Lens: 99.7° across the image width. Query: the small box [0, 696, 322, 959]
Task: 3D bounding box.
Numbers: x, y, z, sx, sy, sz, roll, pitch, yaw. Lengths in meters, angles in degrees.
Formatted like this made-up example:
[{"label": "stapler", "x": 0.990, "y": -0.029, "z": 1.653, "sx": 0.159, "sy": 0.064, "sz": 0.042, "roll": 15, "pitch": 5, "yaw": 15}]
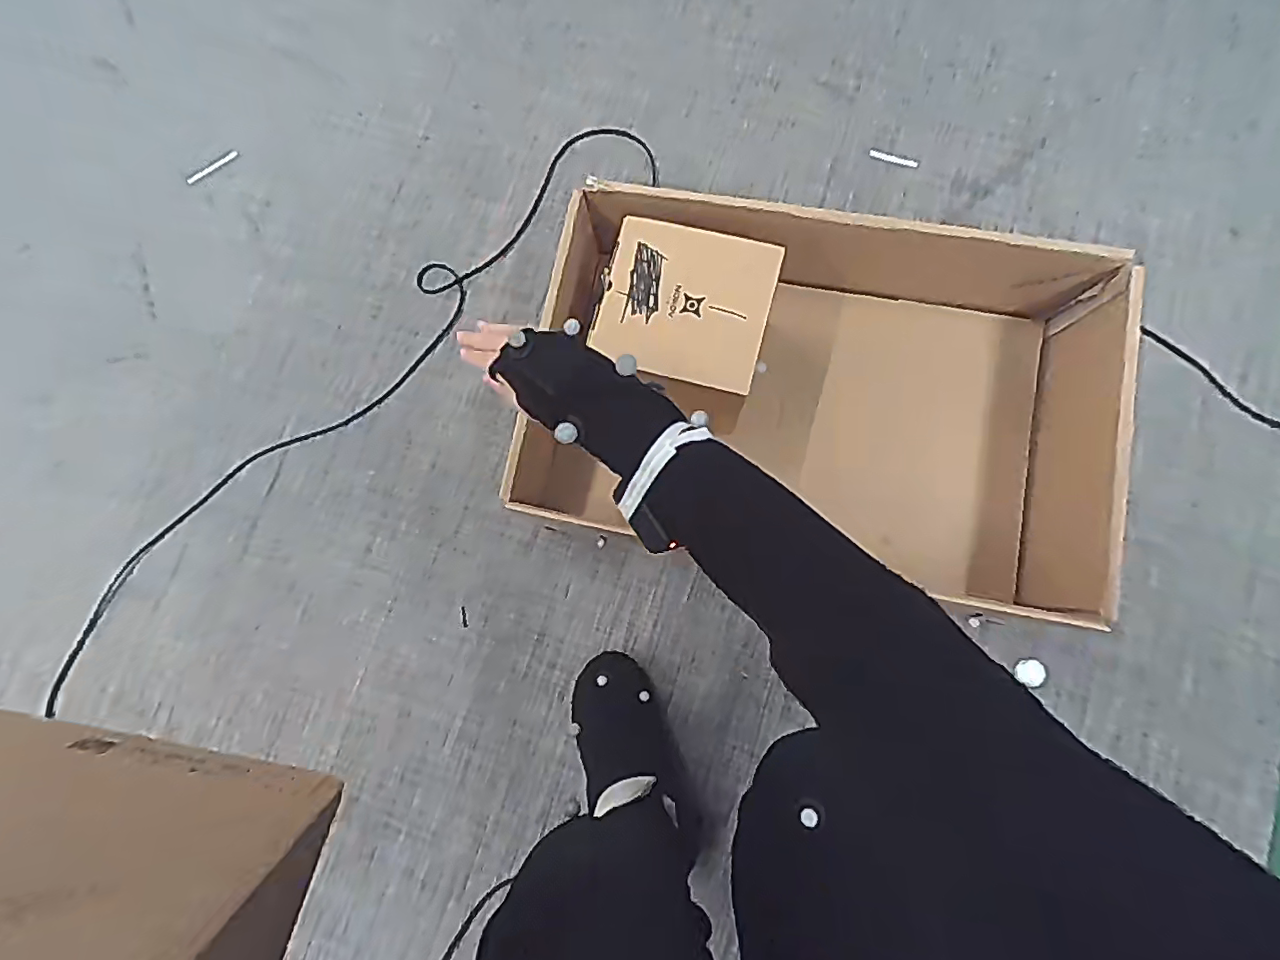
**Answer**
[{"label": "small box", "x": -0.227, "y": 0.185, "z": 0.156, "sx": 0.168, "sy": 0.176, "sz": 0.179, "roll": 18, "pitch": 76, "yaw": -10}]
